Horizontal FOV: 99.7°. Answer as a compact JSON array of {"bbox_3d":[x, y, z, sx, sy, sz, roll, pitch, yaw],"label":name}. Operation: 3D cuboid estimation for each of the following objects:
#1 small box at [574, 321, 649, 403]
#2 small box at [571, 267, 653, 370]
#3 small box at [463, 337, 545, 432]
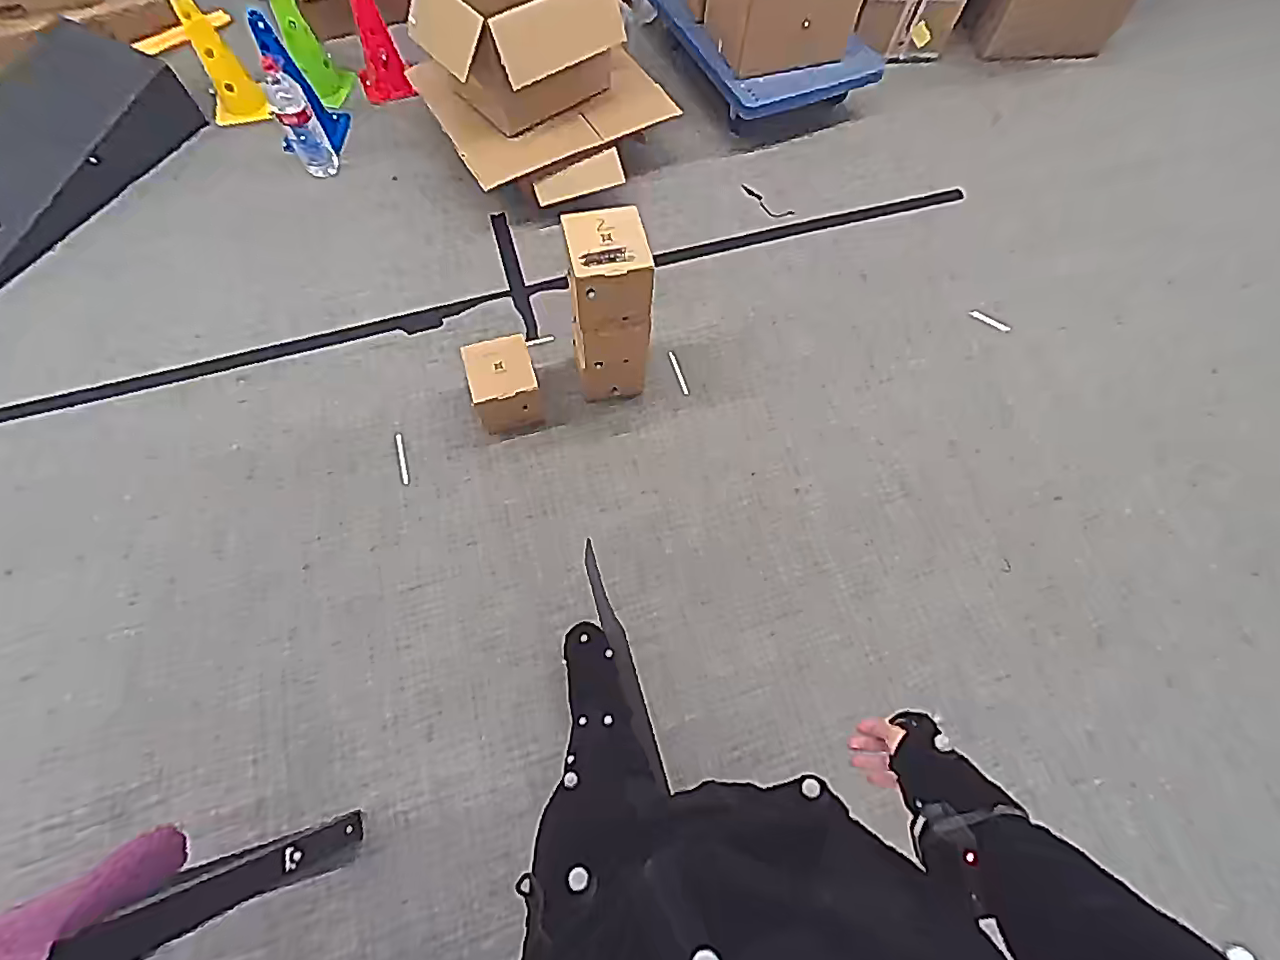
[{"bbox_3d":[-0.082,-0.331,1.489,0.179,0.176,0.168,-10,69,-8],"label":"small box"},{"bbox_3d":[-0.069,-0.389,1.335,0.168,0.176,0.179,-12,68,-8],"label":"small box"},{"bbox_3d":[-0.356,-0.245,1.439,0.168,0.176,0.179,-16,68,-11],"label":"small box"}]
